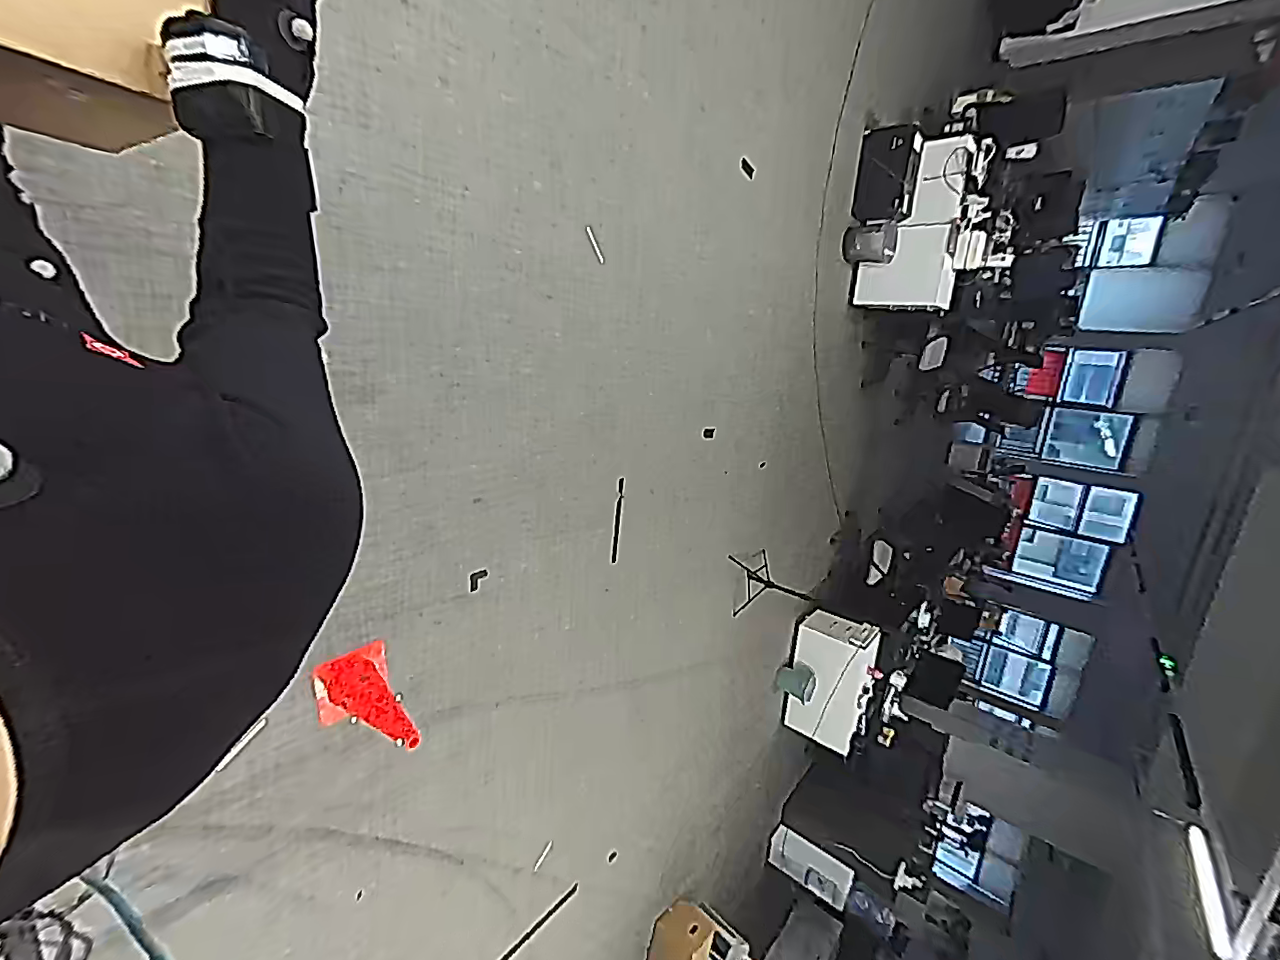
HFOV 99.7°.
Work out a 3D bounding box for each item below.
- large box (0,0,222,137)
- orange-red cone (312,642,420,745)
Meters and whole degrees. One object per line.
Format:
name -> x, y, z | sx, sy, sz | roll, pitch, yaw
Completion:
large box -> -0.528, -0.438, 0.288 | 0.408, 0.320, 0.320 | -11, 114, -53
orange-red cone -> -0.721, 0.628, 1.493 | 0.198, 0.360, 0.199 | -17, 114, -49
